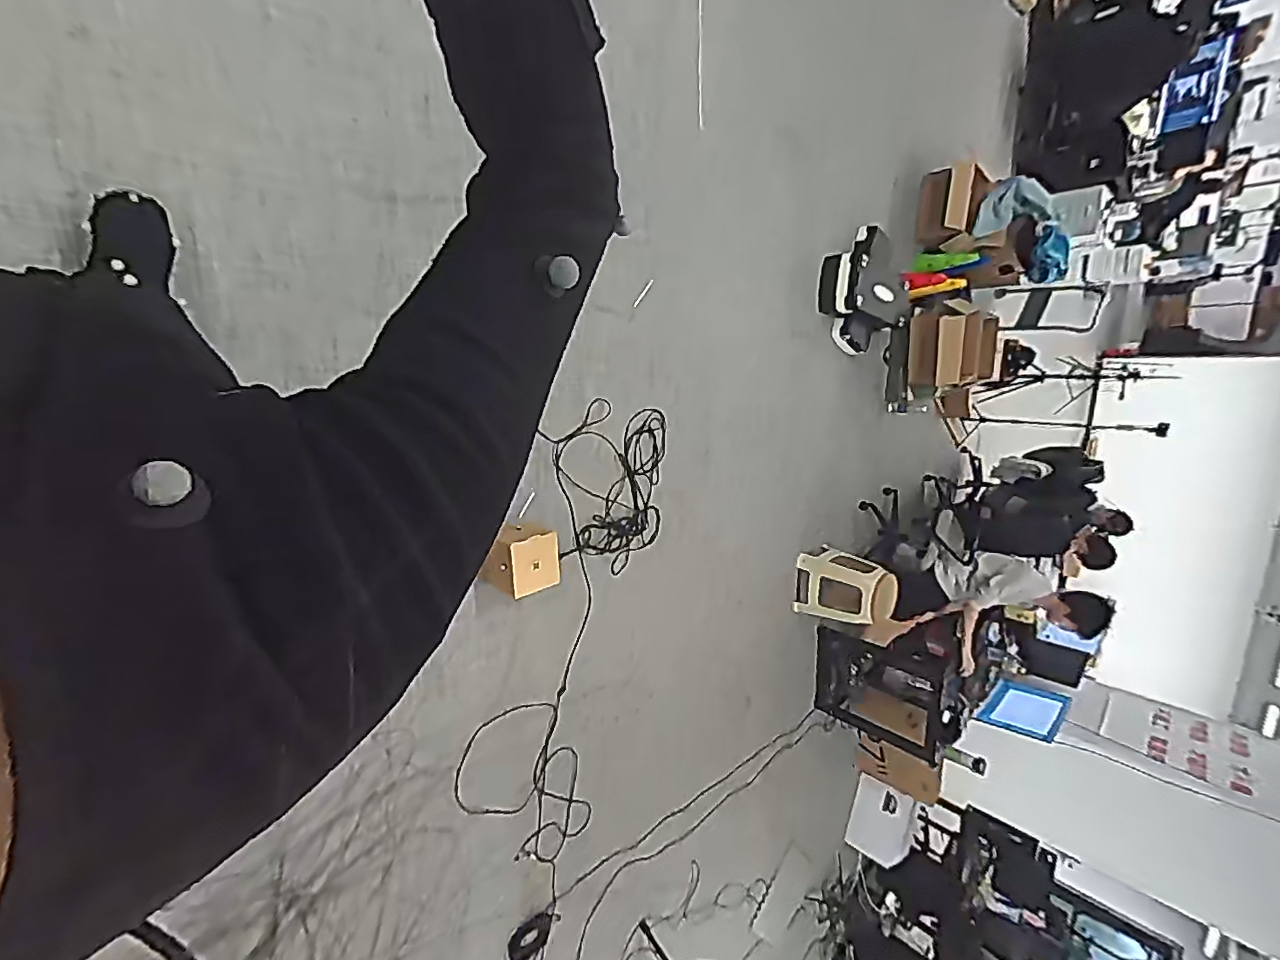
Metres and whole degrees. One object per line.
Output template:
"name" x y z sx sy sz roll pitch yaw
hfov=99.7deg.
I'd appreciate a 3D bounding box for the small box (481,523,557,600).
"small box" -0.379 0.249 1.689 0.168 0.176 0.179 -14 107 -43
